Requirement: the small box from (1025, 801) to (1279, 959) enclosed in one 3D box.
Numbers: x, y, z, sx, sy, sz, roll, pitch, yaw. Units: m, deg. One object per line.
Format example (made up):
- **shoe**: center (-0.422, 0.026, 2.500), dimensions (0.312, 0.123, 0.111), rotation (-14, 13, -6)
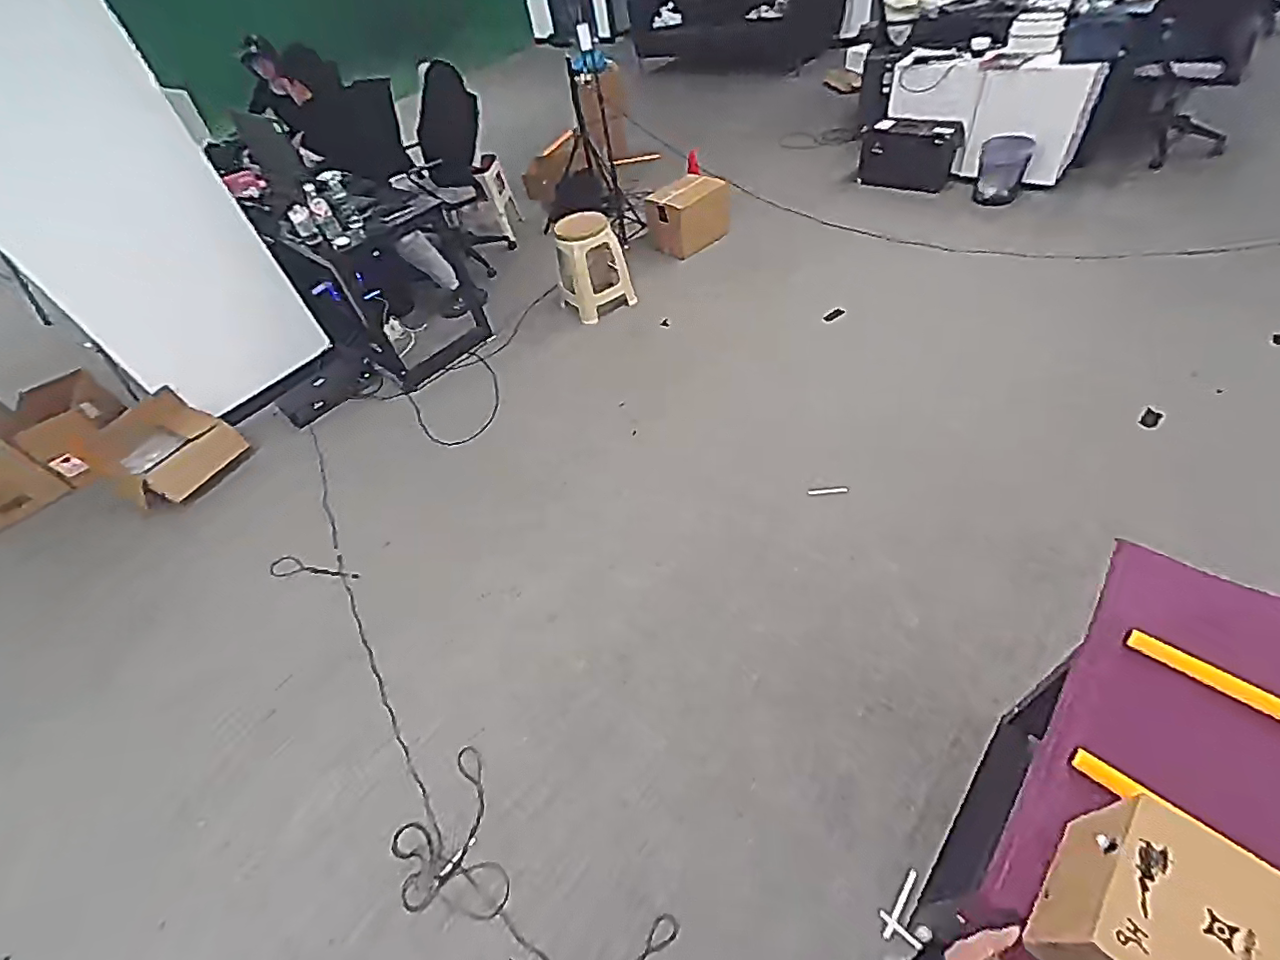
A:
- **small box**: center (0.537, 0.465, 0.538), dimensions (0.179, 0.176, 0.168), rotation (33, 62, 31)
